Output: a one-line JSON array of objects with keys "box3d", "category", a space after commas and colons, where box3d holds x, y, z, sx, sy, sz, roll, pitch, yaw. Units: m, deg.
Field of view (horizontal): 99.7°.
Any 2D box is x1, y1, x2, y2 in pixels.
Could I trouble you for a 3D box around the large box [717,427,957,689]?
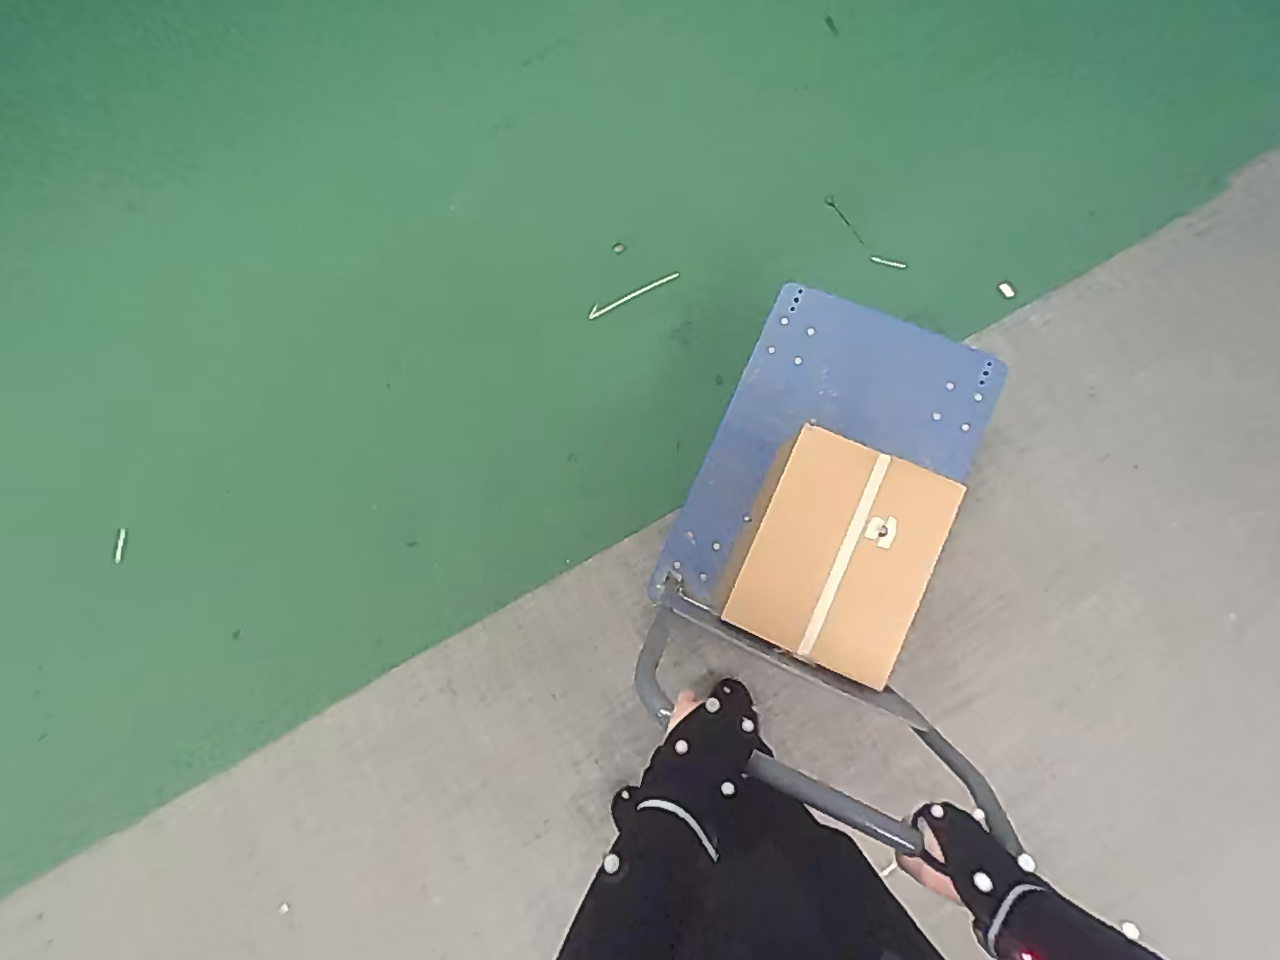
[{"box3d": [0.380, 0.154, 1.144, 0.320, 0.320, 0.408, 24, 87, 6], "category": "large box"}]
